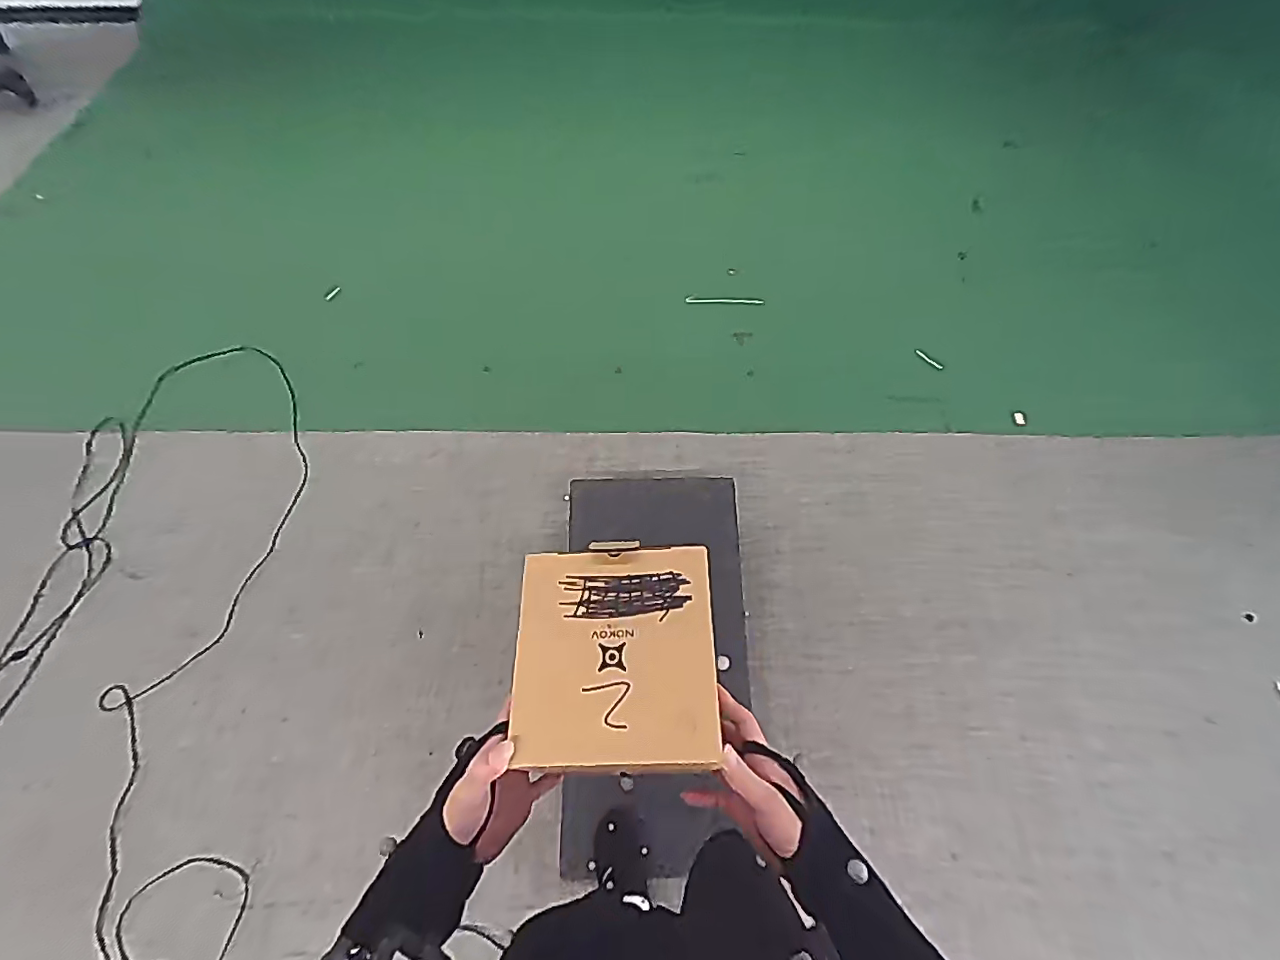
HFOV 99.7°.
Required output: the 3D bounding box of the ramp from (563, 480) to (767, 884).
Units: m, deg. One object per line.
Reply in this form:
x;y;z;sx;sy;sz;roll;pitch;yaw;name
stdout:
0.052;0.474;1.436;0.509;0.206;0.991;-2;61;-2;ramp
